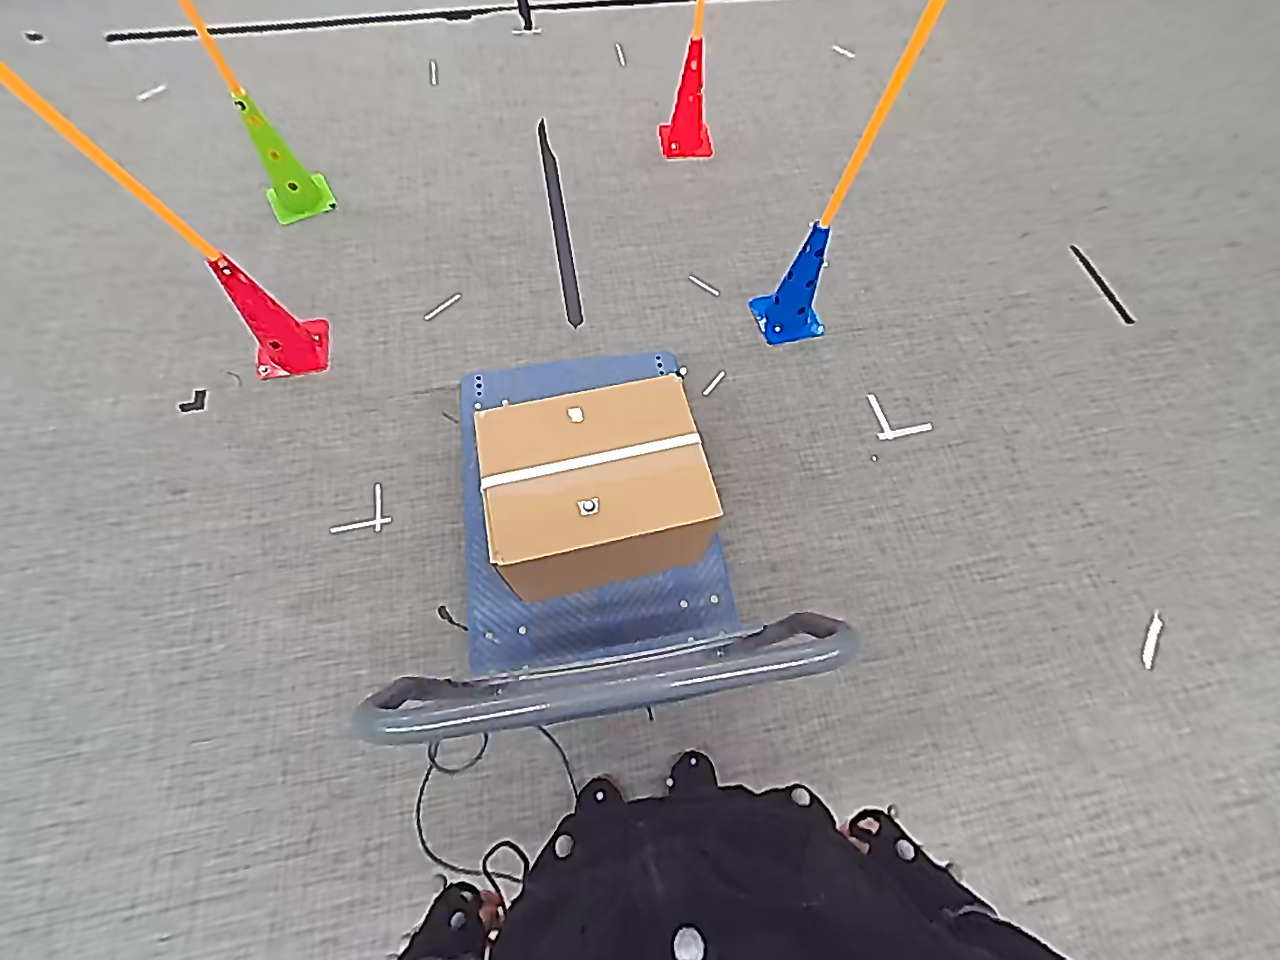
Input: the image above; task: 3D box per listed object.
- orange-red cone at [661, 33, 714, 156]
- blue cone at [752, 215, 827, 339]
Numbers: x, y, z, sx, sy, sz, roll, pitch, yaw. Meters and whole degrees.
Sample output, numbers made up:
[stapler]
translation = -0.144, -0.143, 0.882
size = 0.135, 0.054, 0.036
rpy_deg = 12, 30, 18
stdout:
[orange-red cone]
translation = 0.192, -1.408, 1.962
size = 0.199, 0.360, 0.198
rpy_deg = -3, 66, -5
[blue cone]
translation = 0.486, -0.615, 1.624
size = 0.193, 0.380, 0.192
rpy_deg = -13, 65, -8
